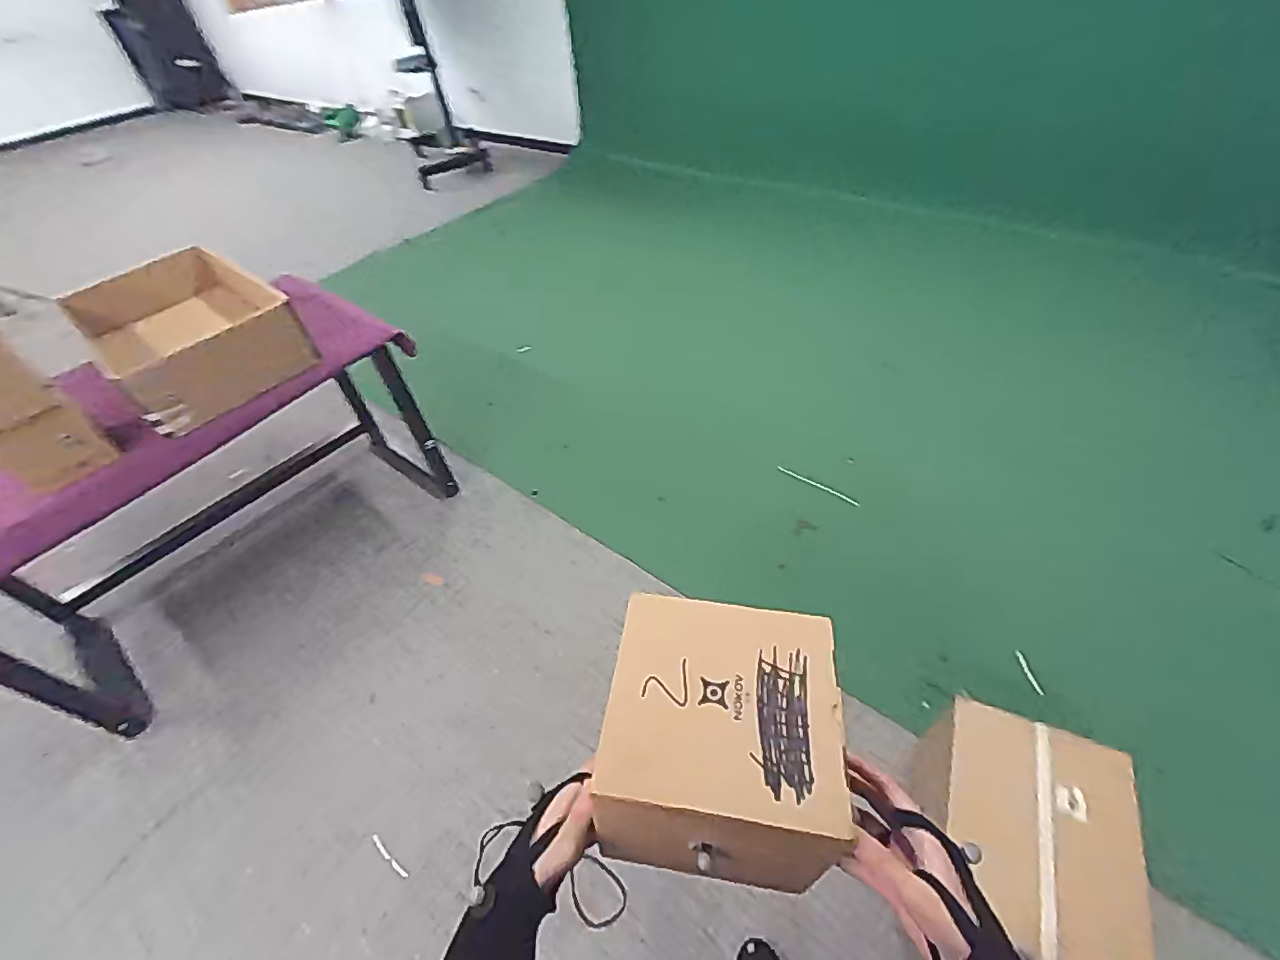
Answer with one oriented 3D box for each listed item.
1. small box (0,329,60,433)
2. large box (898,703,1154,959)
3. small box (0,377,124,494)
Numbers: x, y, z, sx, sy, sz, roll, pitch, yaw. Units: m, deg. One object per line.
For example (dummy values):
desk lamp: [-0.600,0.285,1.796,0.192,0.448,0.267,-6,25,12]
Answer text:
small box: [-1.327,-0.199,1.080,0.168,0.176,0.179,29,56,30]
large box: [0.737,0.749,1.088,0.320,0.320,0.408,16,49,20]
small box: [-1.317,-0.095,1.206,0.179,0.176,0.168,29,55,31]
